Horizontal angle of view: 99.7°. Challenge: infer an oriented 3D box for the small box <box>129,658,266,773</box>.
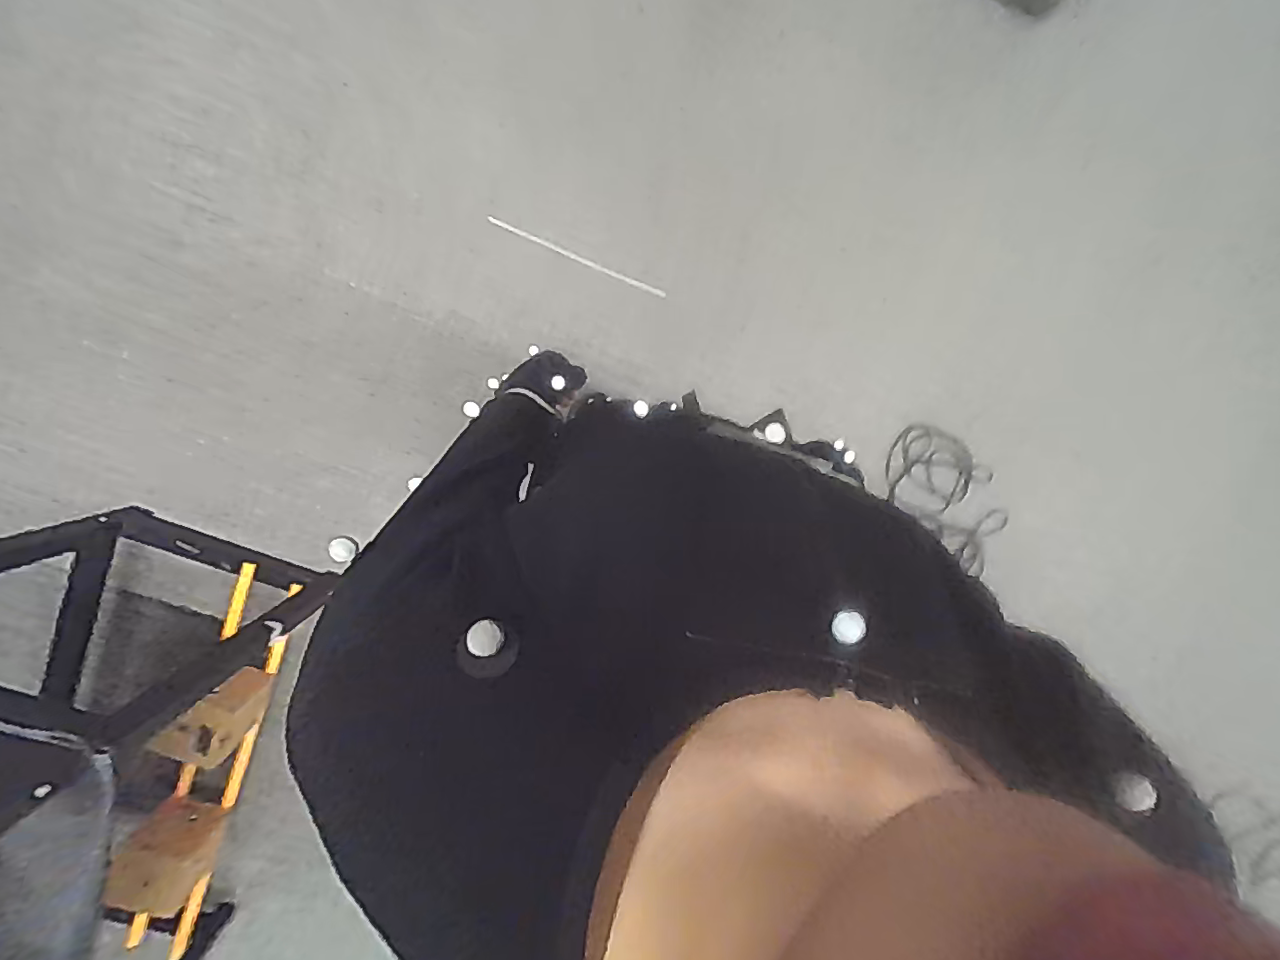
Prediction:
[{"bbox_3d":[-1.063,0.563,1.316,0.179,0.176,0.168,25,97,-8],"label":"small box"}]
